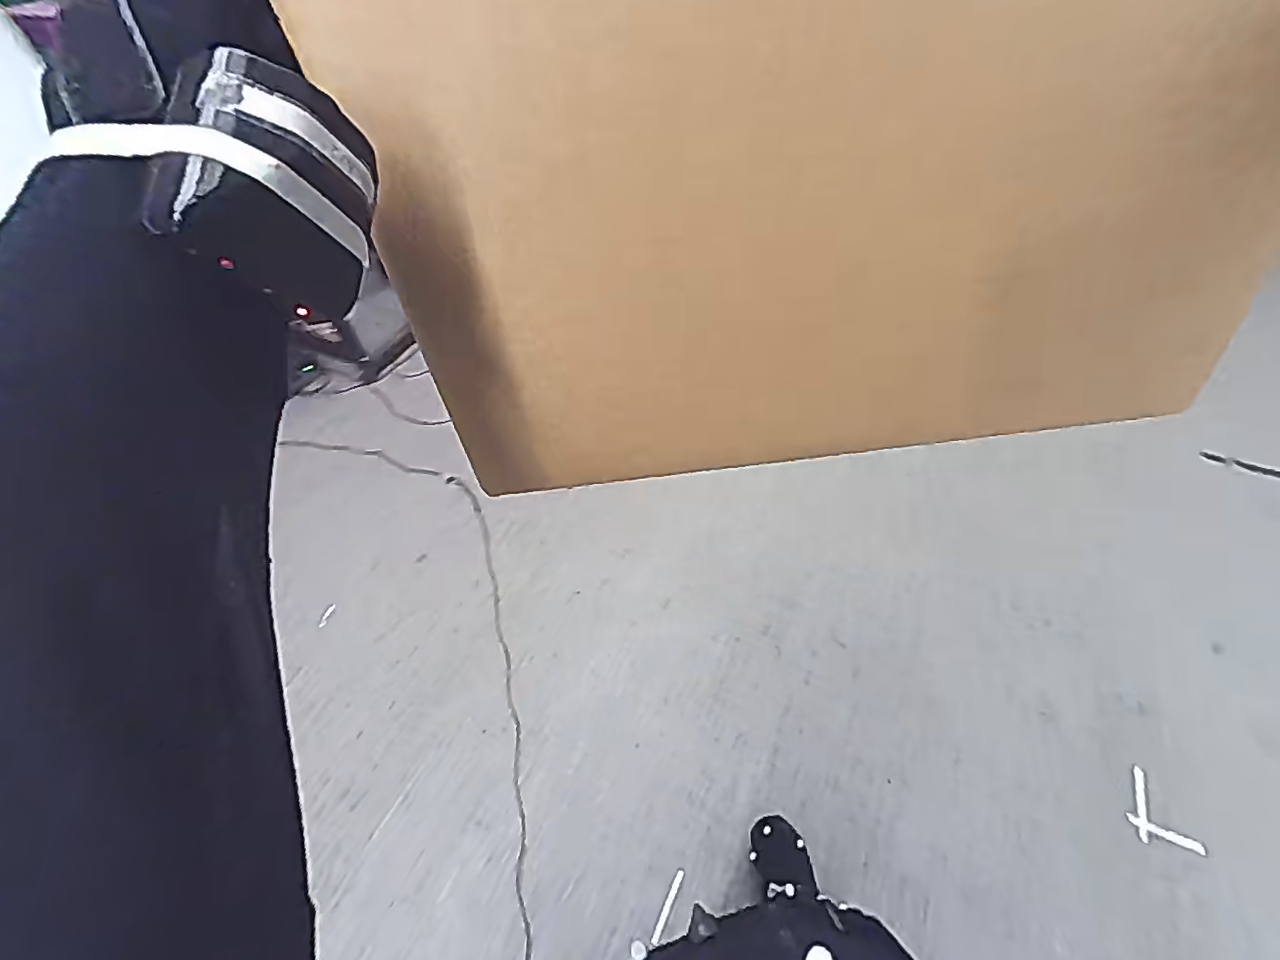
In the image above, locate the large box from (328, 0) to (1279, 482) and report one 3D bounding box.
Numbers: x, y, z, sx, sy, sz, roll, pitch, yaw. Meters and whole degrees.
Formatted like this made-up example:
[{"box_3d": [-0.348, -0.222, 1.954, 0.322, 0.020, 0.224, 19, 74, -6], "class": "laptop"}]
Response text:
[{"box_3d": [0.086, -0.226, 0.345, 0.408, 0.320, 0.320, -6, 40, 3], "class": "large box"}]
